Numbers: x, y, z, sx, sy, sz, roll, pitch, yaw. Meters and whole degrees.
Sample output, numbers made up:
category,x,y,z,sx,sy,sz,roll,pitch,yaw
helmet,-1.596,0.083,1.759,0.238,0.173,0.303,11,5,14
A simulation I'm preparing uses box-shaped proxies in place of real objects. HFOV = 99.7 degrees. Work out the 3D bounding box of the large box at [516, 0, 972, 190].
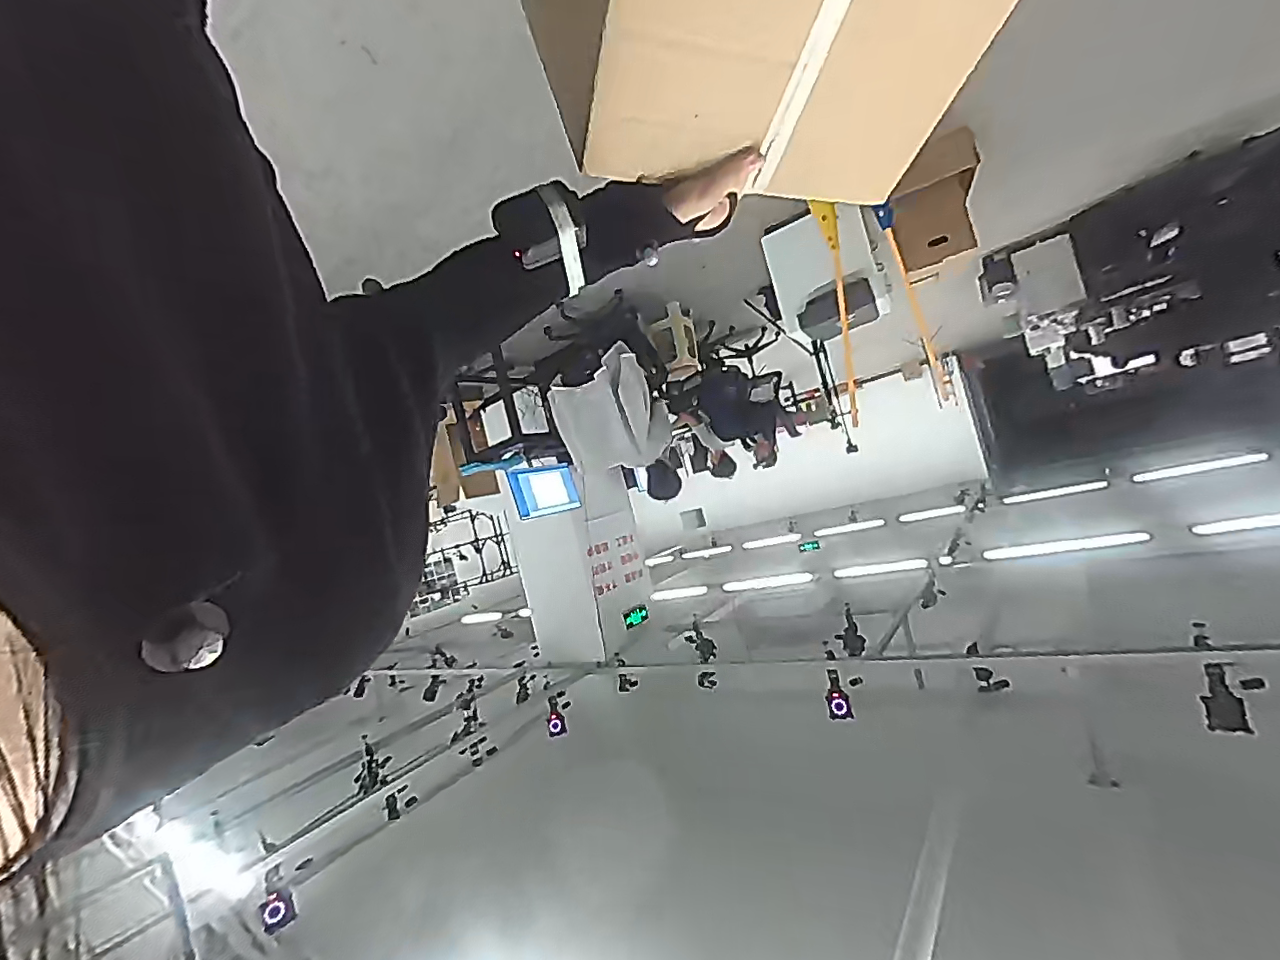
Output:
category,x,y,z,sx,sy,sz,roll,pitch,yaw
large box,0.085,-0.502,0.398,0.320,0.320,0.408,-6,150,-20
